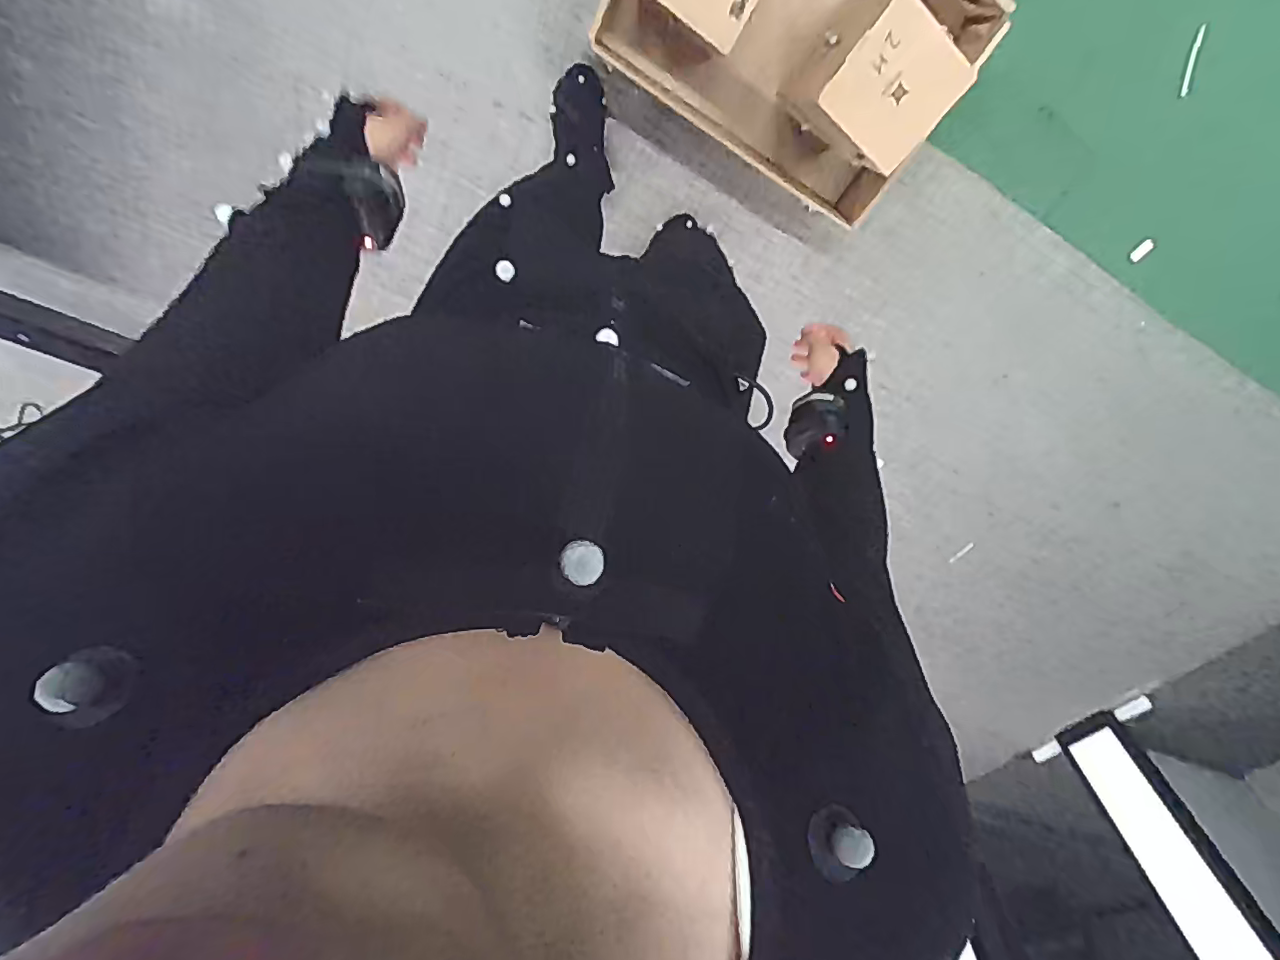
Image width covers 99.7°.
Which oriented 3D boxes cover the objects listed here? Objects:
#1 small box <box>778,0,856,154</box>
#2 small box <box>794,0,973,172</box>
[{"bbox_3d":[0.378,-0.744,0.989,0.168,0.176,0.179,30,124,-22],"label":"small box"},{"bbox_3d":[0.376,-0.637,0.863,0.179,0.176,0.168,31,123,-22],"label":"small box"}]
